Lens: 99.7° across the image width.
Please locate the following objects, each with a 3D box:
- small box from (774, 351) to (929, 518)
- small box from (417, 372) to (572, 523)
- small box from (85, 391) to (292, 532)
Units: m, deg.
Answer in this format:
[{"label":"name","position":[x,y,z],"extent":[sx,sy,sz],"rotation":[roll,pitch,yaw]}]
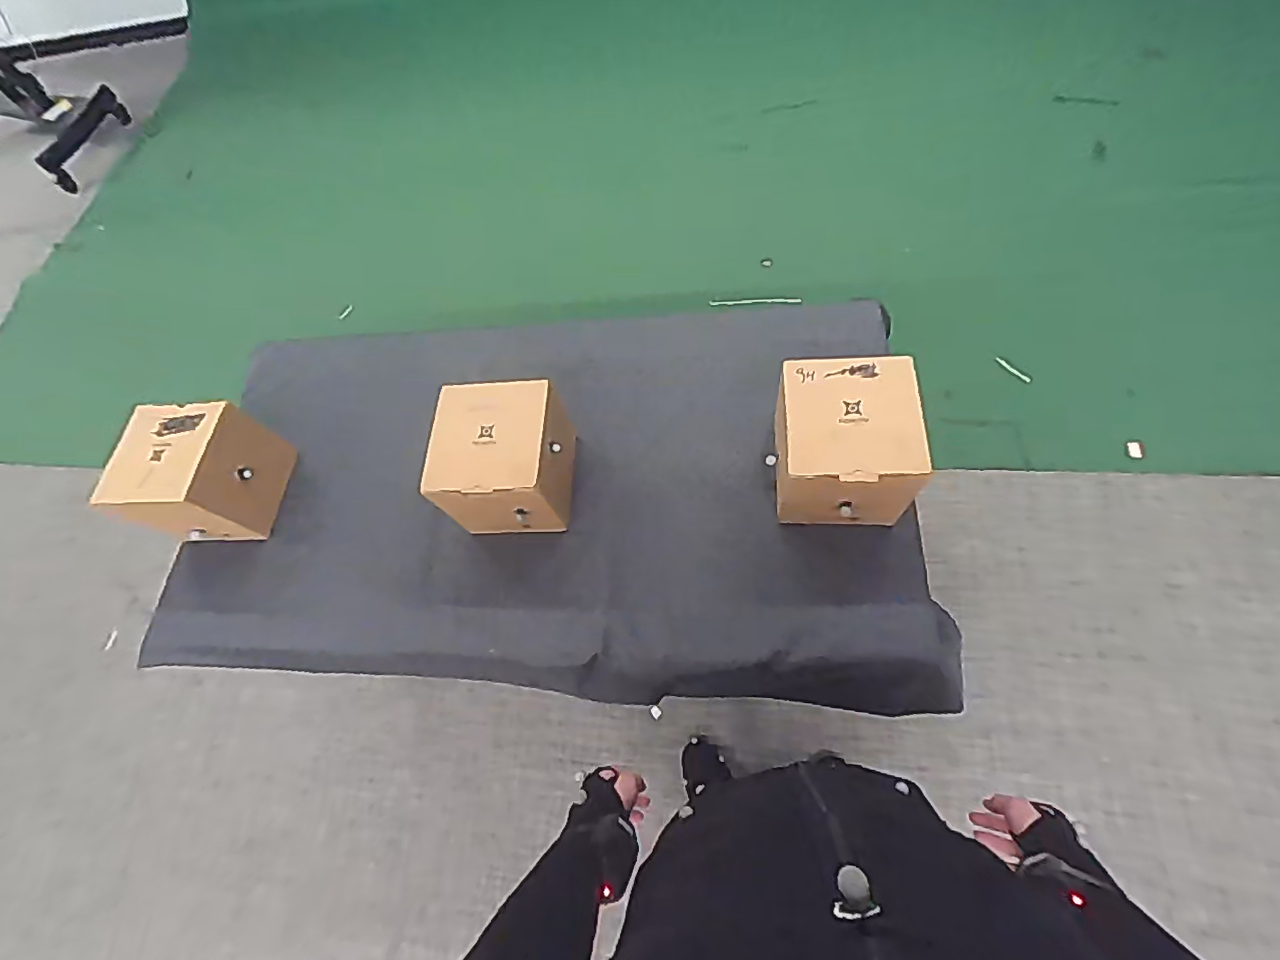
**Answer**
[{"label":"small box","position":[0.276,-0.054,0.744],"extent":[0.168,0.176,0.179],"rotation":[1,66,10]},{"label":"small box","position":[-0.205,-0.040,0.817],"extent":[0.168,0.176,0.179],"rotation":[-1,64,7]},{"label":"small box","position":[-0.718,-0.027,0.887],"extent":[0.168,0.176,0.179],"rotation":[-1,65,8]}]
